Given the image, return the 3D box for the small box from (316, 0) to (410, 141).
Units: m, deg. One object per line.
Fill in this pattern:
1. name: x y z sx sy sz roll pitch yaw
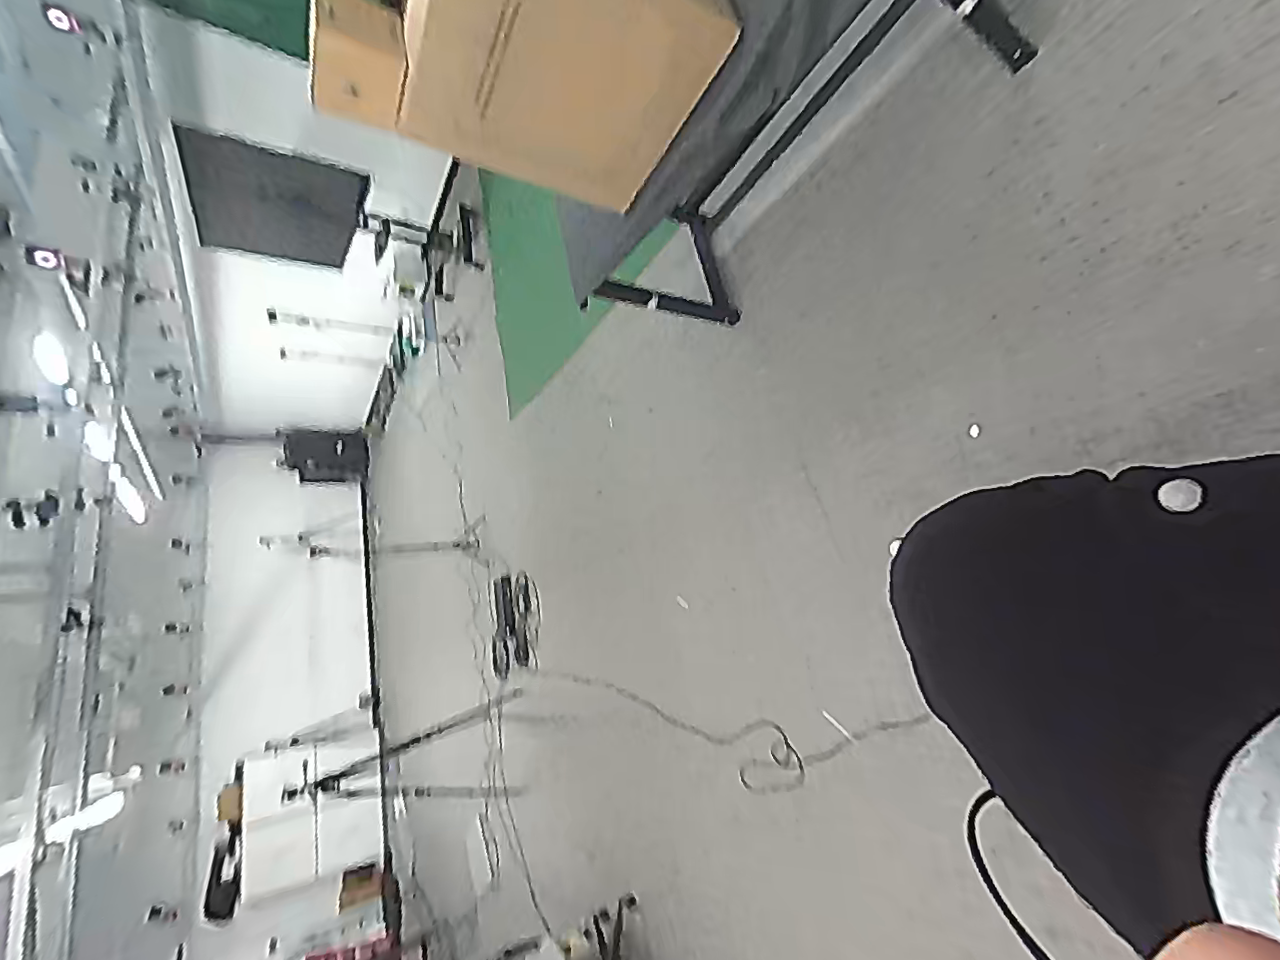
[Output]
1. small box: -0.608 -0.891 1.184 0.179 0.176 0.168 -40 59 50
